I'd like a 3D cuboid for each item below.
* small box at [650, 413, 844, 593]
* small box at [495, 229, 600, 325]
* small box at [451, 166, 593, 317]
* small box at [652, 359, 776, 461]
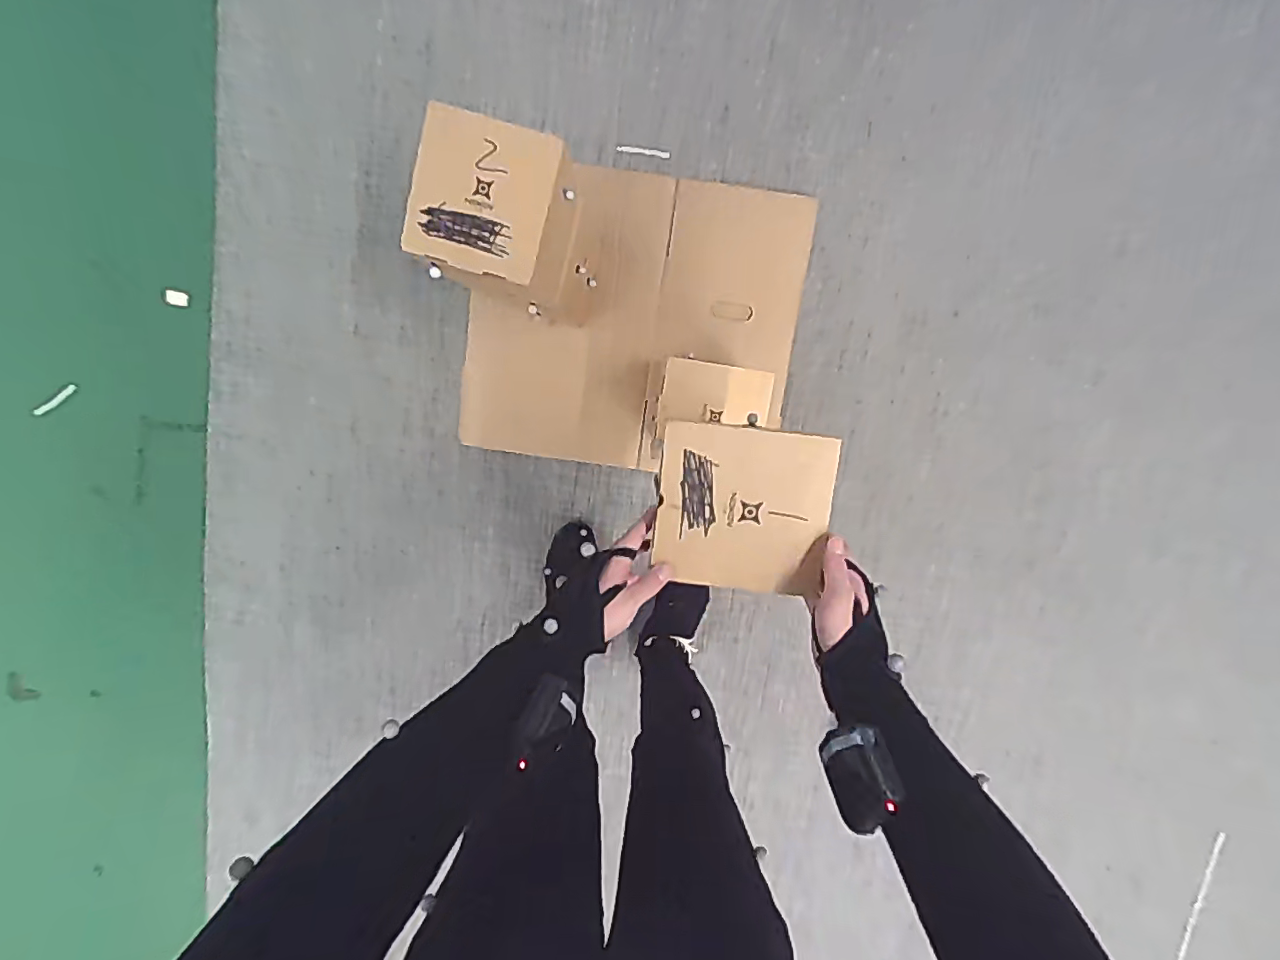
[{"bbox_3d":[0.110,0.016,0.623,0.179,0.176,0.168,7,97,2],"label":"small box"},{"bbox_3d":[-0.183,-0.410,1.052,0.179,0.176,0.168,16,98,-3],"label":"small box"},{"bbox_3d":[-0.183,-0.377,0.889,0.179,0.176,0.168,16,98,-2],"label":"small box"},{"bbox_3d":[0.118,-0.113,0.935,0.179,0.176,0.168,9,100,1],"label":"small box"}]
